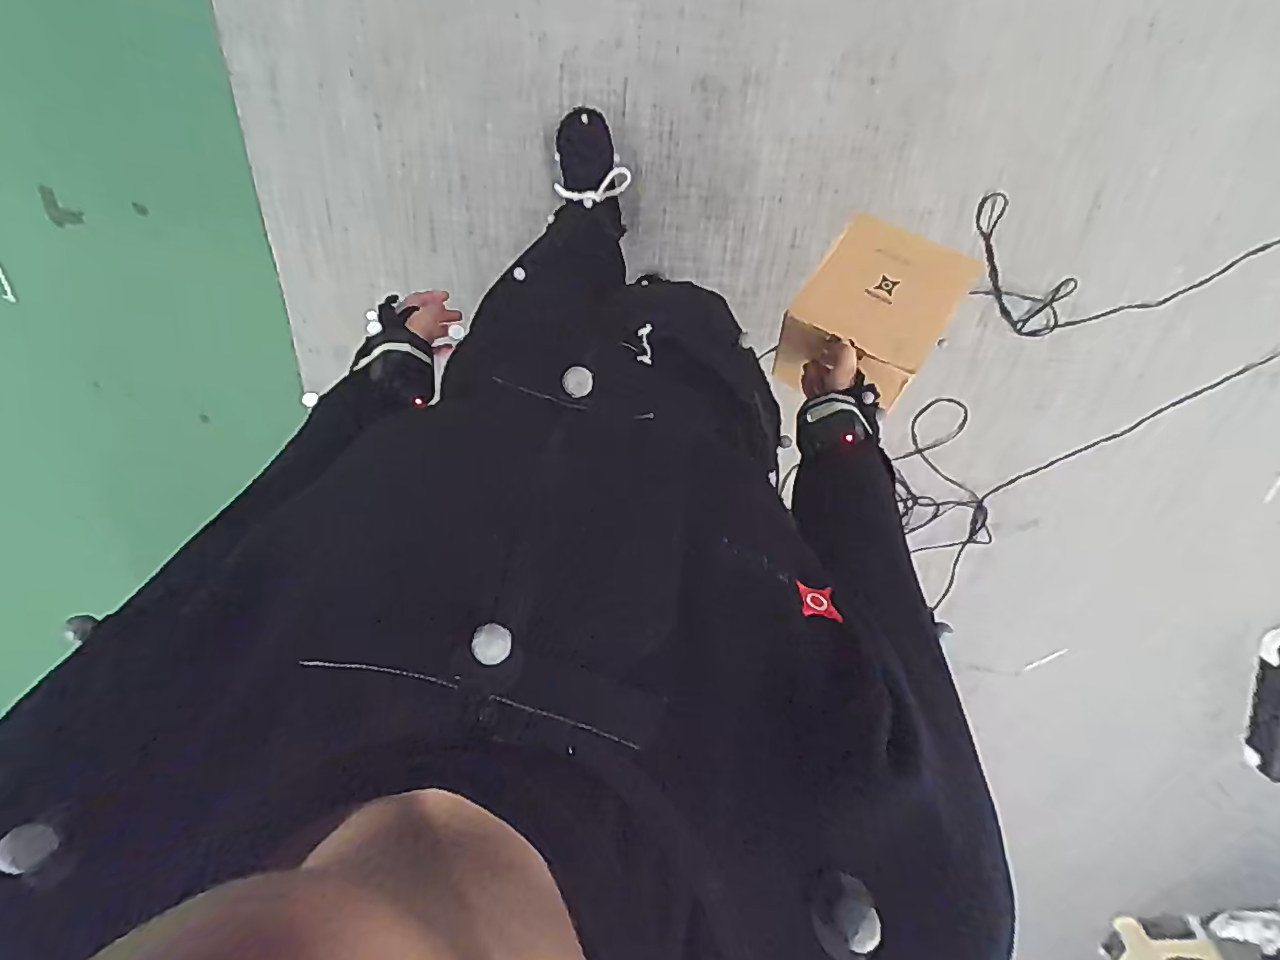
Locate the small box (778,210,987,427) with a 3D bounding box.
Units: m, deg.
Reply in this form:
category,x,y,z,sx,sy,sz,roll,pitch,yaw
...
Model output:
category,x,y,z,sx,sy,sz,roll,pitch,yaw
small box,0.296,-0.198,0.704,0.168,0.176,0.179,33,79,14
